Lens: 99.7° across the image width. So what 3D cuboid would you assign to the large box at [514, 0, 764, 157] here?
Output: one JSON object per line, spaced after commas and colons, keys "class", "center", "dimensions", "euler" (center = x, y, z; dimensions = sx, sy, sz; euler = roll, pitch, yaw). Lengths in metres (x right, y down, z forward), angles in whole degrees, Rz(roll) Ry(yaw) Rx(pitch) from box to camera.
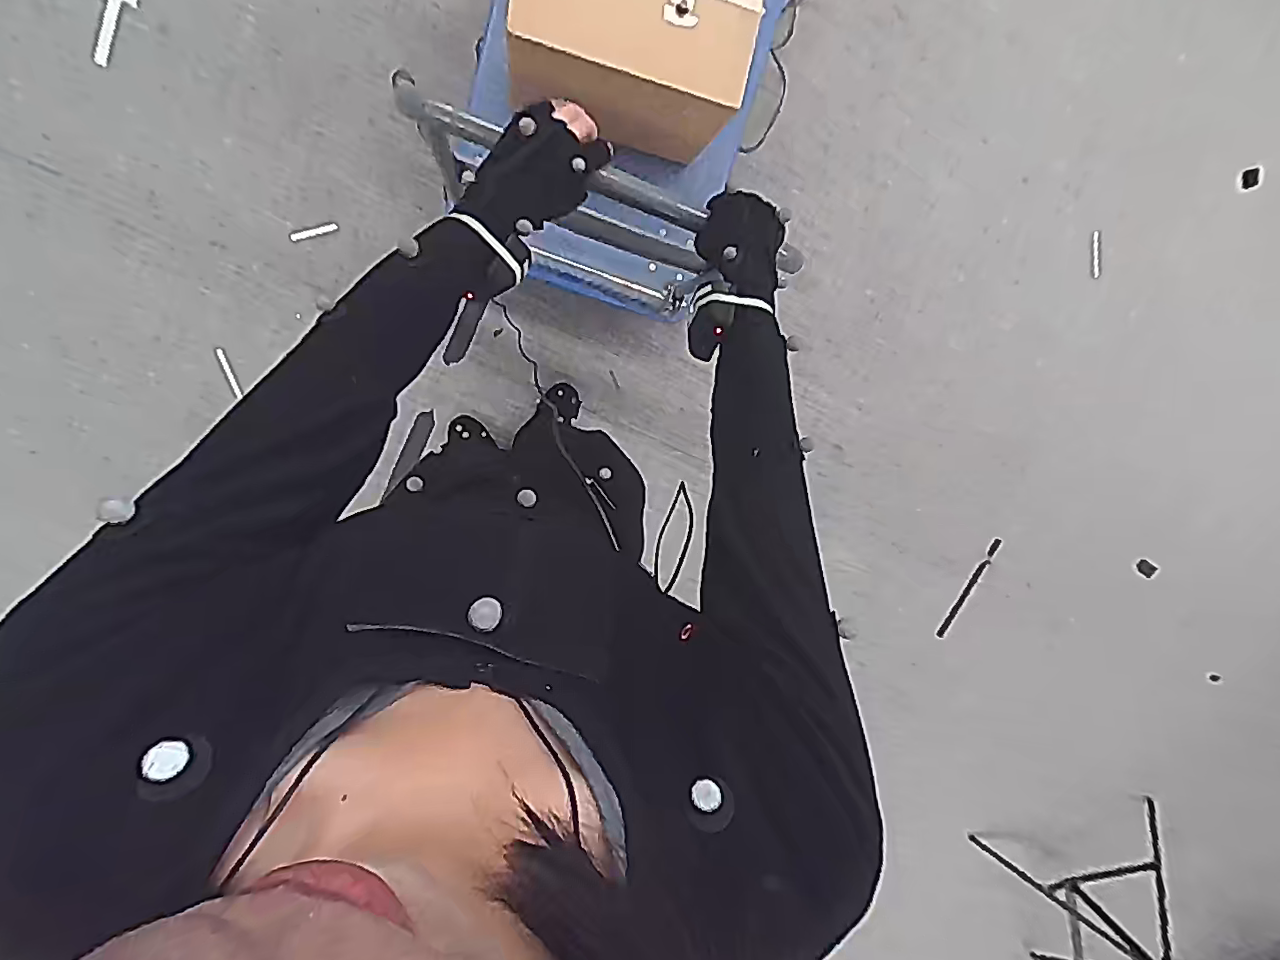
{"class": "large box", "center": [-0.015, -0.864, 1.006], "dimensions": [0.408, 0.320, 0.320], "euler": [8, 103, -15]}
